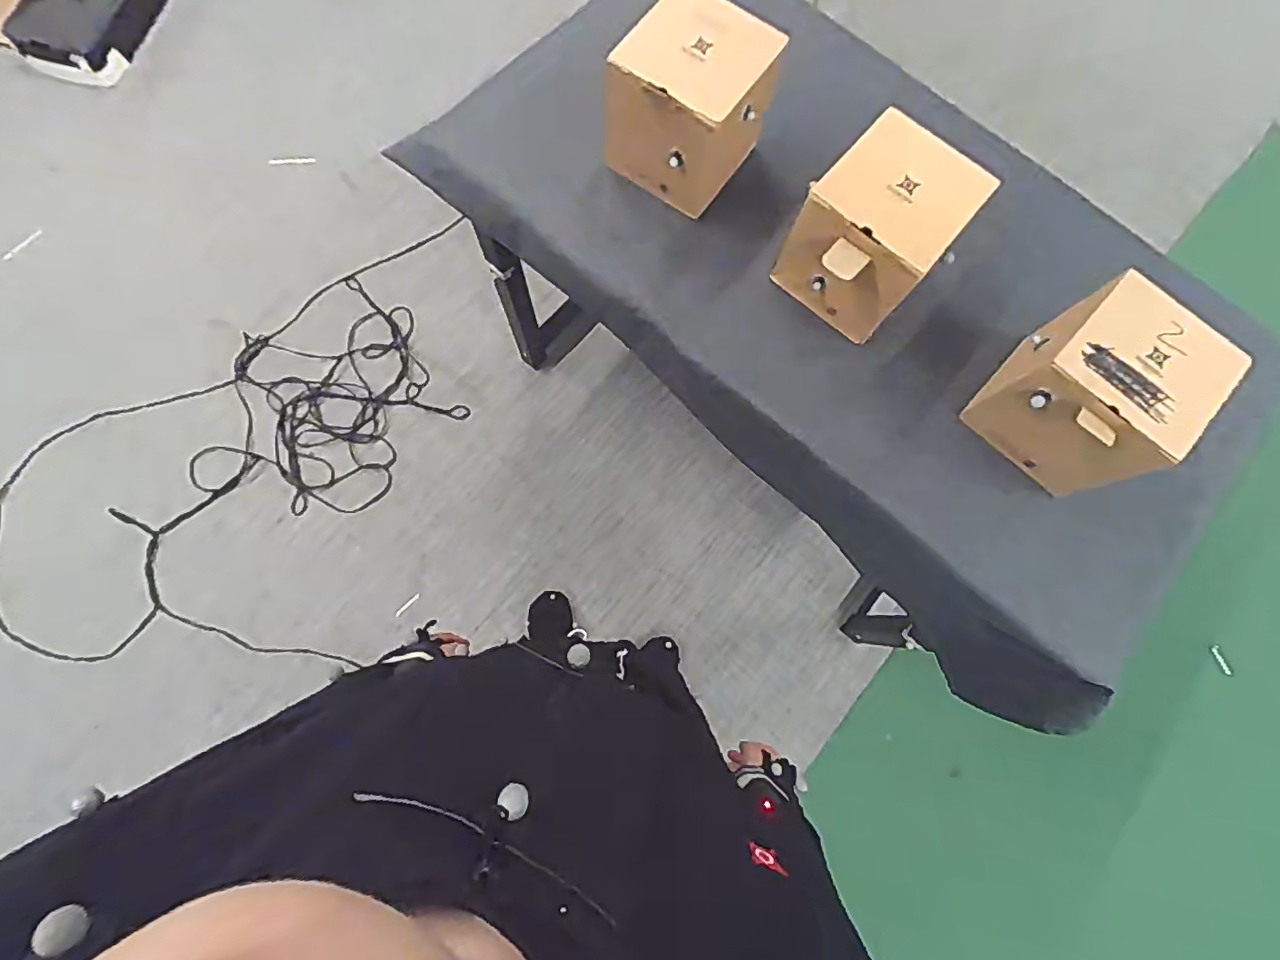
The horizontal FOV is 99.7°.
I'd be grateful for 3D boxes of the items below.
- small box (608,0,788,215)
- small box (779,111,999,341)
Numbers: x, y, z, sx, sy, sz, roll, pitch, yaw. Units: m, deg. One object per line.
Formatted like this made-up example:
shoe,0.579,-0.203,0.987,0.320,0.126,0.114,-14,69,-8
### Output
small box,0.070,-0.513,0.749,0.168,0.176,0.179,34,76,4
small box,0.312,-0.324,0.716,0.168,0.176,0.179,40,78,6
